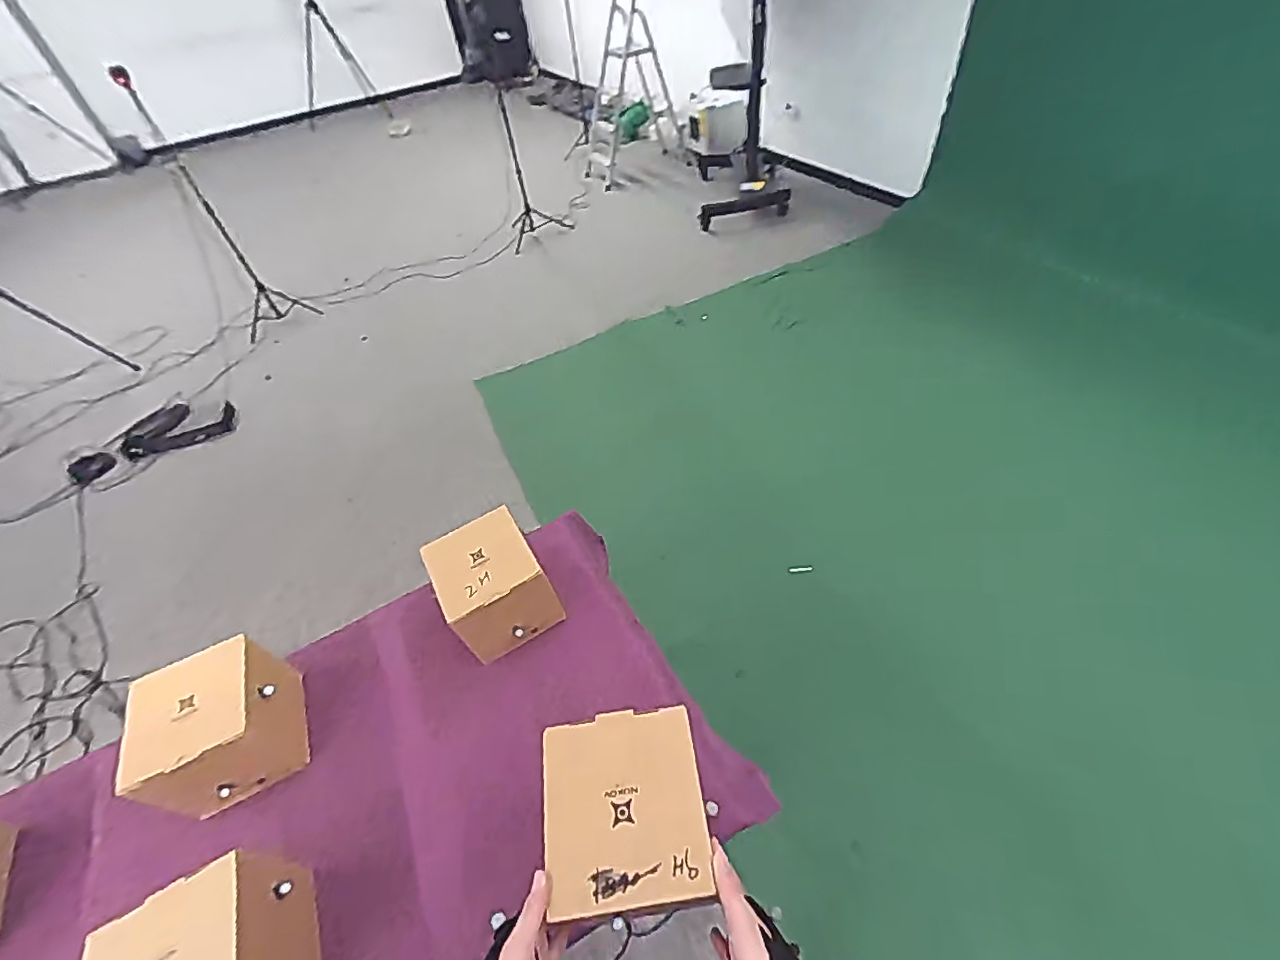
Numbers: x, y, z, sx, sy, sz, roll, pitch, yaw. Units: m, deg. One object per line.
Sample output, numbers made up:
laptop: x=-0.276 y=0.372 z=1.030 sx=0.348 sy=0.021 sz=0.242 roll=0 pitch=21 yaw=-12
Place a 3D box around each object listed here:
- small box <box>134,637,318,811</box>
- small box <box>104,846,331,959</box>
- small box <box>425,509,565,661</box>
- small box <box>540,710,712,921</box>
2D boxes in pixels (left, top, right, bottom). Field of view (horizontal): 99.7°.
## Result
small box: x=-0.651 y=0.395 z=0.872 sx=0.168 sy=0.176 sz=0.179 roll=-25 pitch=51 yaw=-13
small box: x=-0.507 y=0.599 z=0.662 sx=0.168 sy=0.176 sz=0.179 roll=-27 pitch=49 yaw=-13
small box: x=-0.258 y=0.192 z=0.981 sx=0.168 sy=0.176 sz=0.179 roll=-29 pitch=51 yaw=-13
small box: x=-0.013 y=0.390 z=0.627 sx=0.168 sy=0.176 sz=0.179 roll=-10 pitch=51 yaw=2
